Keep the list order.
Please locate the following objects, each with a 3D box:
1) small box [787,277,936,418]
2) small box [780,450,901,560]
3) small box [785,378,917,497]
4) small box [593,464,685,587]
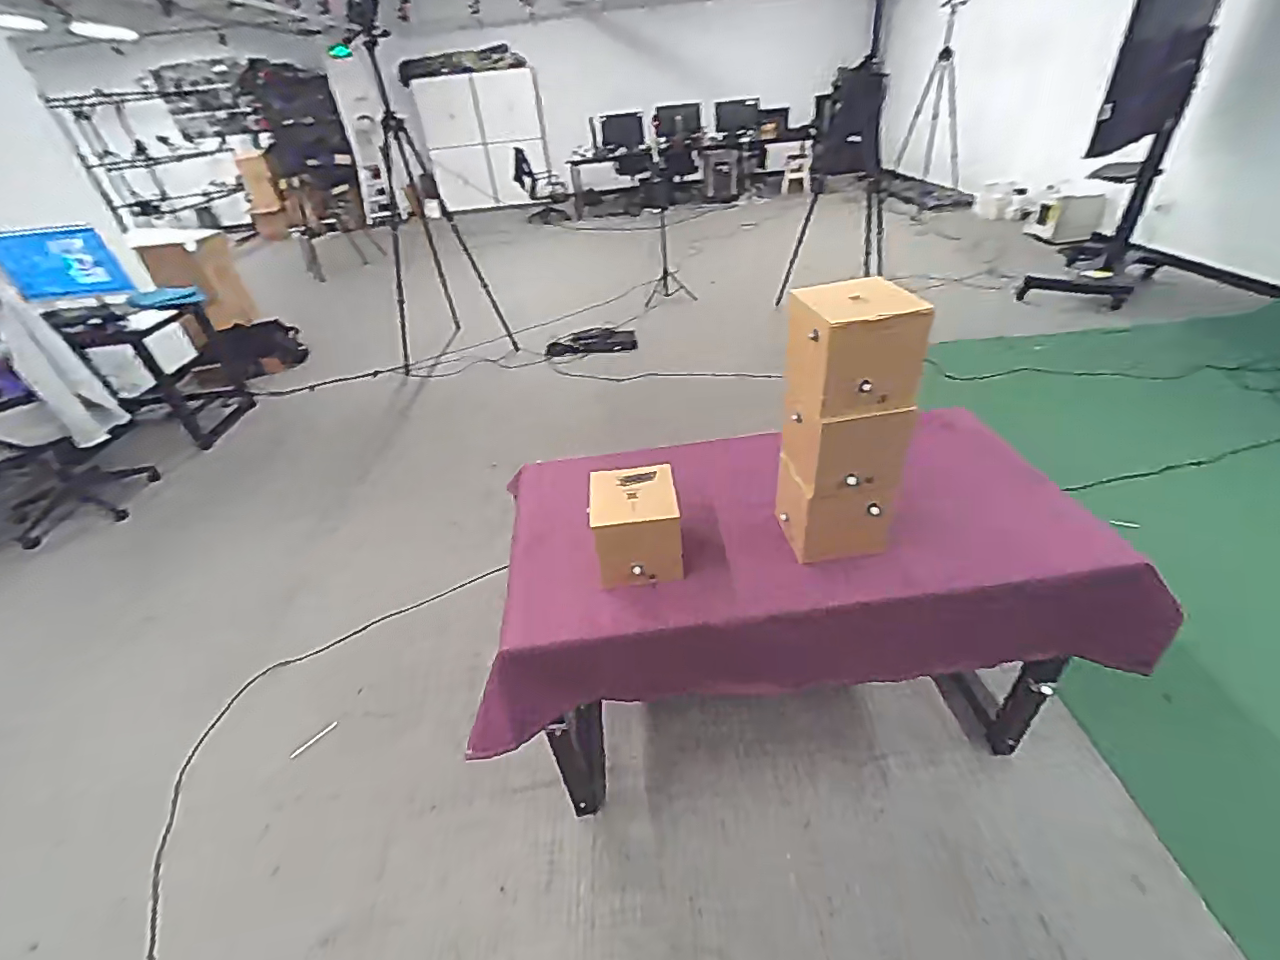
[{"bbox_3d":[0.356,-0.225,0.912,0.168,0.176,0.179,-10,37,-3],"label":"small box"},{"bbox_3d":[0.394,0.041,1.097,0.179,0.176,0.168,-8,36,-1],"label":"small box"},{"bbox_3d":[0.377,-0.092,1.003,0.168,0.176,0.179,-9,37,-1],"label":"small box"},{"bbox_3d":[-0.002,0.091,1.096,0.168,0.176,0.179,-7,37,0],"label":"small box"}]
